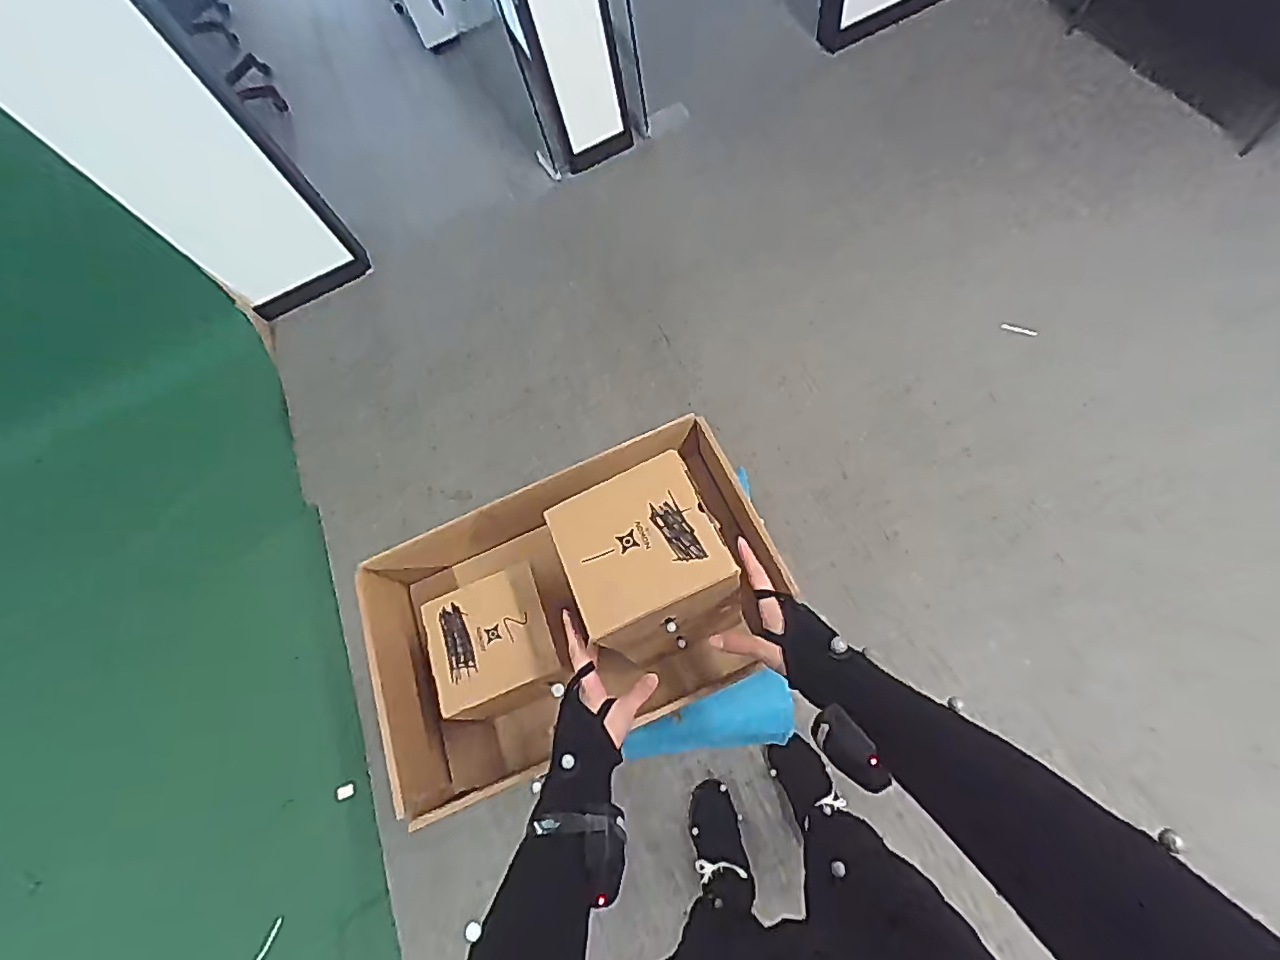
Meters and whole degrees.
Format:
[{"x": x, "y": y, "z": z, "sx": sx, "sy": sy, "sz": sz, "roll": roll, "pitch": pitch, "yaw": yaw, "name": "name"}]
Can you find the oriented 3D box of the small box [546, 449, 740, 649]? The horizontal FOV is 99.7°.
[{"x": 0.011, "y": 0.094, "z": 0.671, "sx": 0.179, "sy": 0.176, "sz": 0.168, "roll": -25, "pitch": 64, "yaw": 1, "name": "small box"}]
